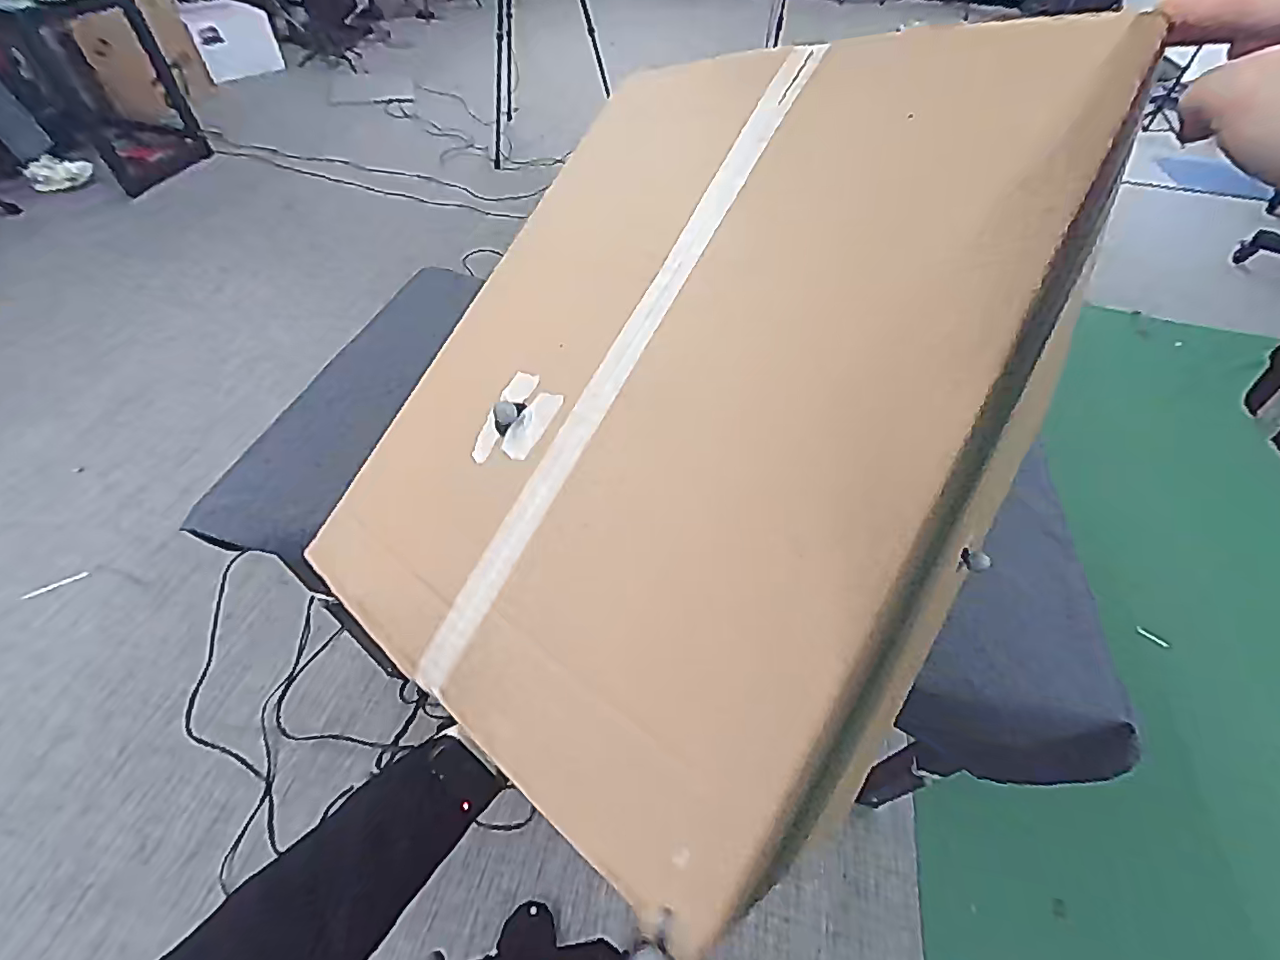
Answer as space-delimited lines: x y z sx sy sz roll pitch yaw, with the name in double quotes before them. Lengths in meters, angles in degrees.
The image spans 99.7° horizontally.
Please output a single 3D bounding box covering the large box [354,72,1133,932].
"large box" 0.082 -0.009 0.422 0.320 0.320 0.408 24 82 34
